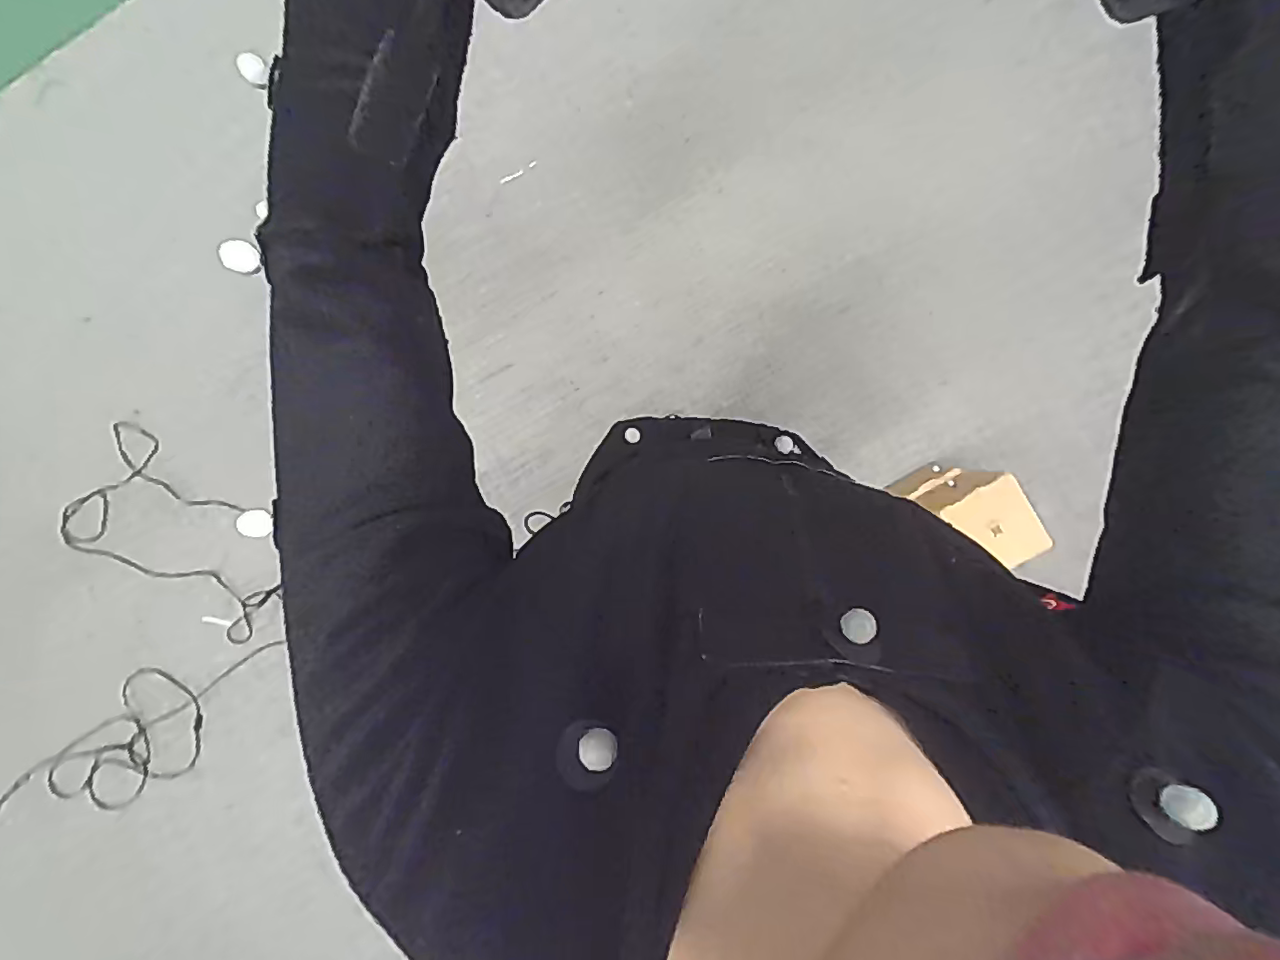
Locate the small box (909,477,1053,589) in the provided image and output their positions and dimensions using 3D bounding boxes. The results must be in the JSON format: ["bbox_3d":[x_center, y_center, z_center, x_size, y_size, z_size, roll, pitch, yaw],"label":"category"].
[{"bbox_3d":[0.729,0.106,1.175,0.168,0.176,0.179,-30,90,4],"label":"small box"}]
